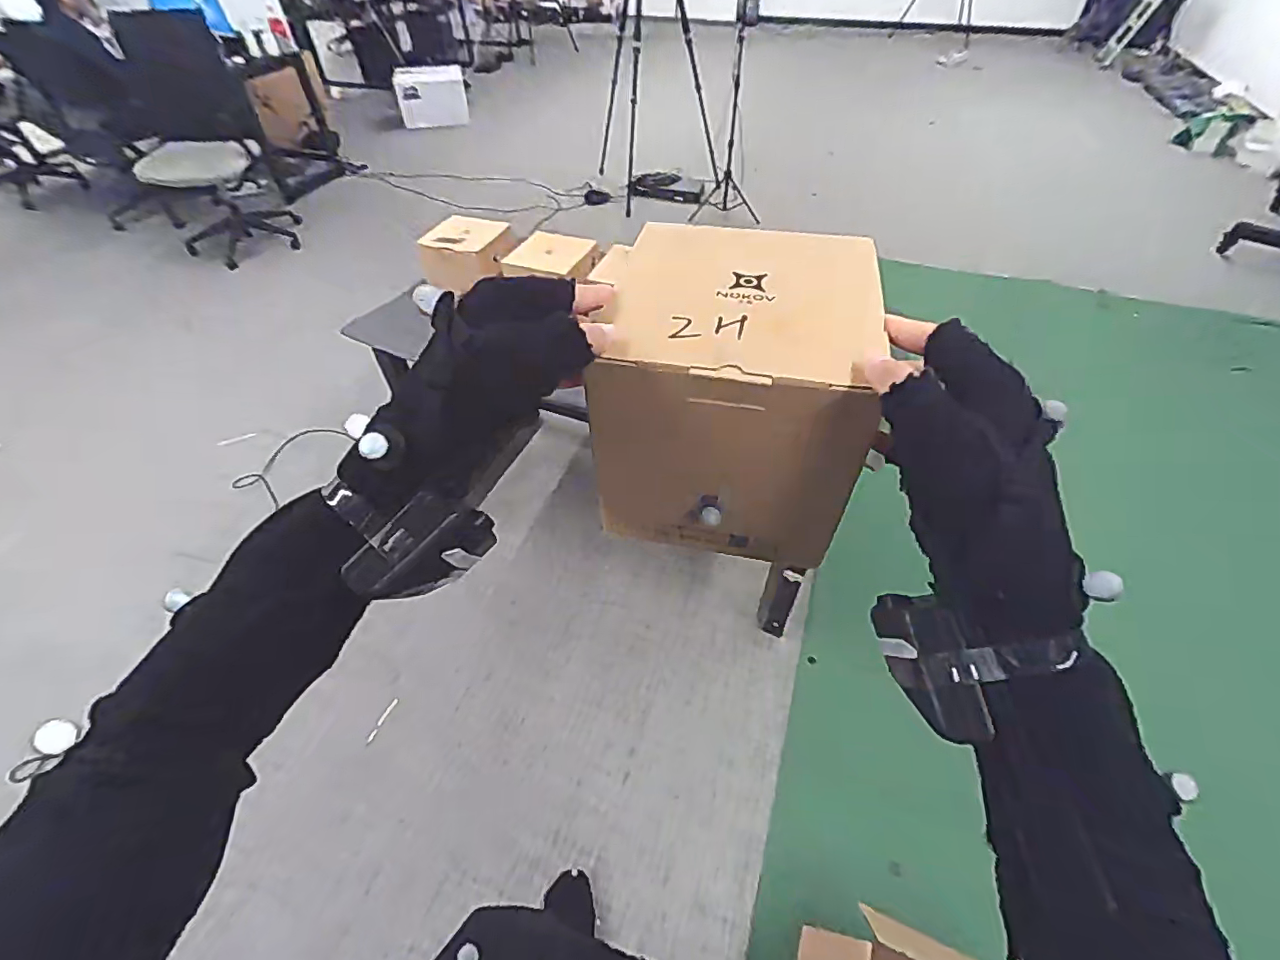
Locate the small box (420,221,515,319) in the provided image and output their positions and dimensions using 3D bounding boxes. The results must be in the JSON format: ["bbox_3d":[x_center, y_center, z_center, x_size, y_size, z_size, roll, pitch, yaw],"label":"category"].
[{"bbox_3d":[-0.419,-0.531,1.374,0.168,0.176,0.179,14,48,12],"label":"small box"}]

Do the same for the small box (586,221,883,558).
[{"bbox_3d":[0.067,-0.069,0.406,0.168,0.176,0.179,8,49,10],"label":"small box"}]

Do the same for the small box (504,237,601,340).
[{"bbox_3d":[-0.201,-0.463,1.312,0.168,0.176,0.179,16,49,15],"label":"small box"}]
